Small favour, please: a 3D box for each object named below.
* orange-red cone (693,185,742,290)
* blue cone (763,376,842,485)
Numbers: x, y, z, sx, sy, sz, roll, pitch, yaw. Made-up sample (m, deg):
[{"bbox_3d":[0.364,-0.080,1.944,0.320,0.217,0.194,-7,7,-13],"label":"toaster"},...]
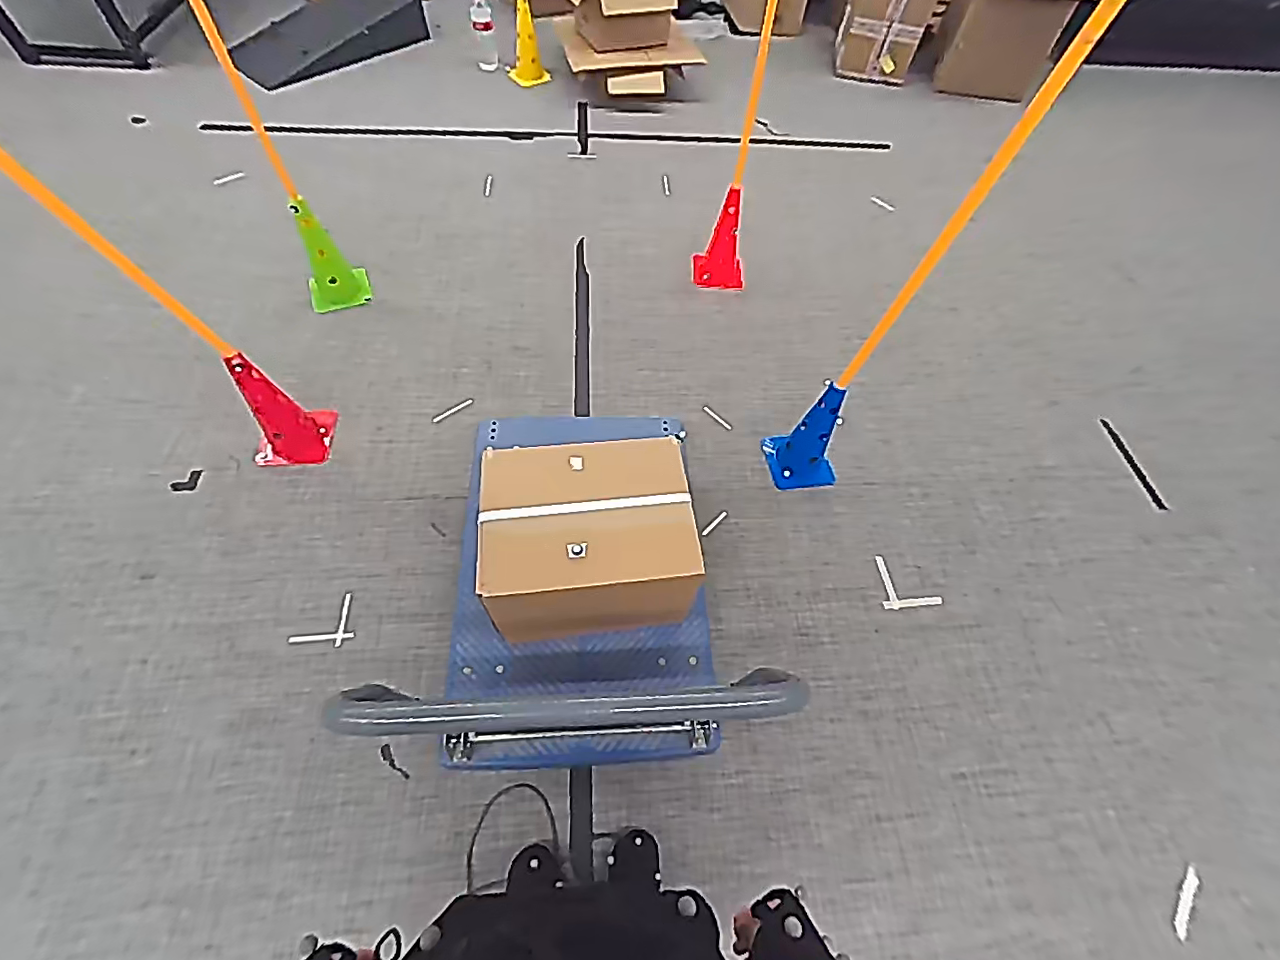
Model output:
[{"bbox_3d":[0.327,-0.929,2.038,0.199,0.360,0.198,5,59,-3],"label":"orange-red cone"},{"bbox_3d":[0.515,-0.156,1.593,0.193,0.380,0.192,-5,58,-8],"label":"blue cone"}]
